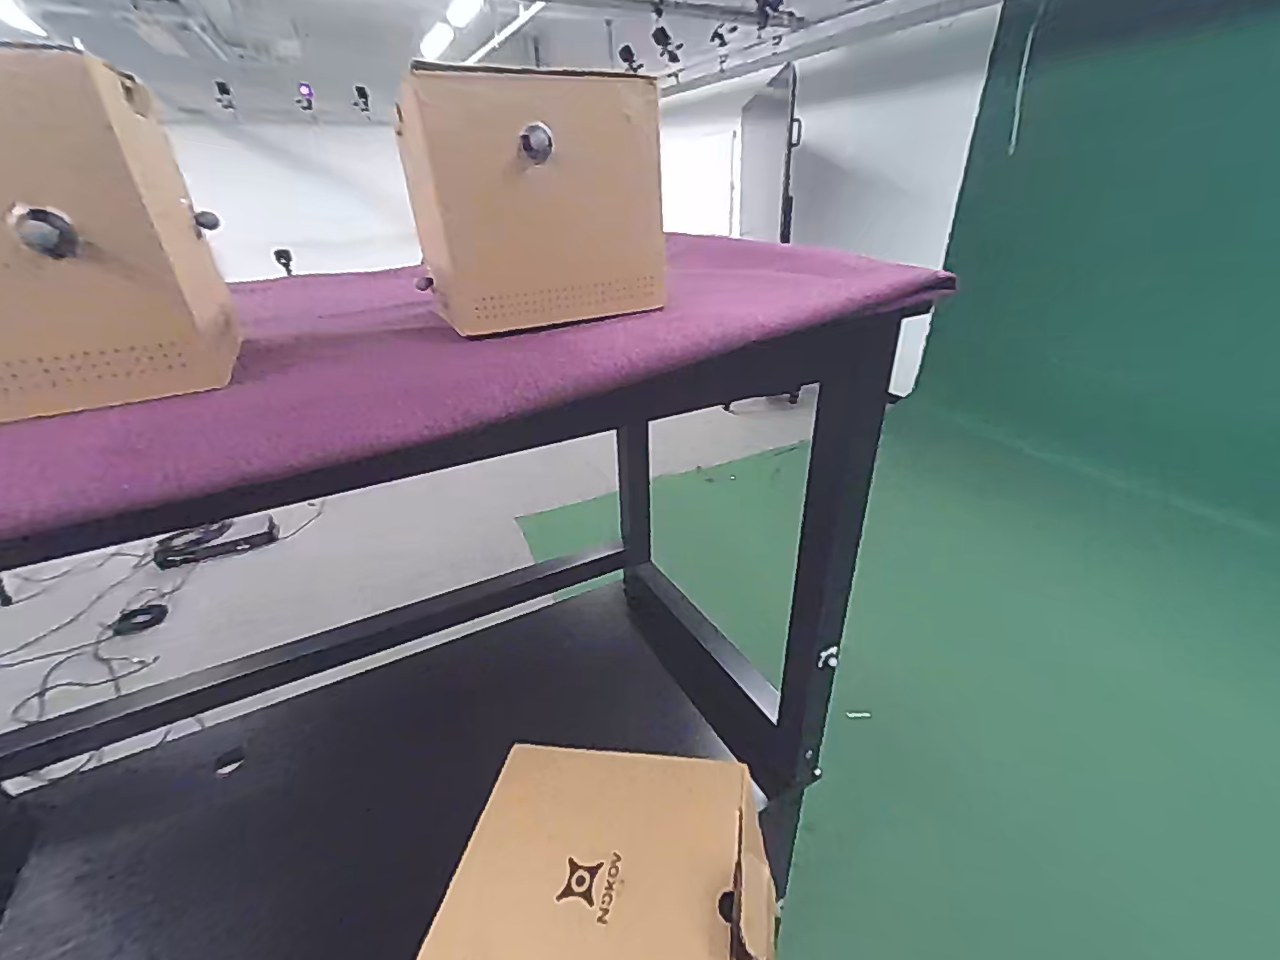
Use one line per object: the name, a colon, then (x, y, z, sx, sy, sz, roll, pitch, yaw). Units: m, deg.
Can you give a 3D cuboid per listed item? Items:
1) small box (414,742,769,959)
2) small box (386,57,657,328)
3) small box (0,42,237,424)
small box: (-0.015, 0.303, 0.356, 0.179, 0.176, 0.168, -4, 29, 17)
small box: (-0.097, -0.233, 0.459, 0.179, 0.176, 0.168, -16, 30, -22)
small box: (-0.368, -0.134, 0.312, 0.179, 0.176, 0.168, -18, 33, -24)
